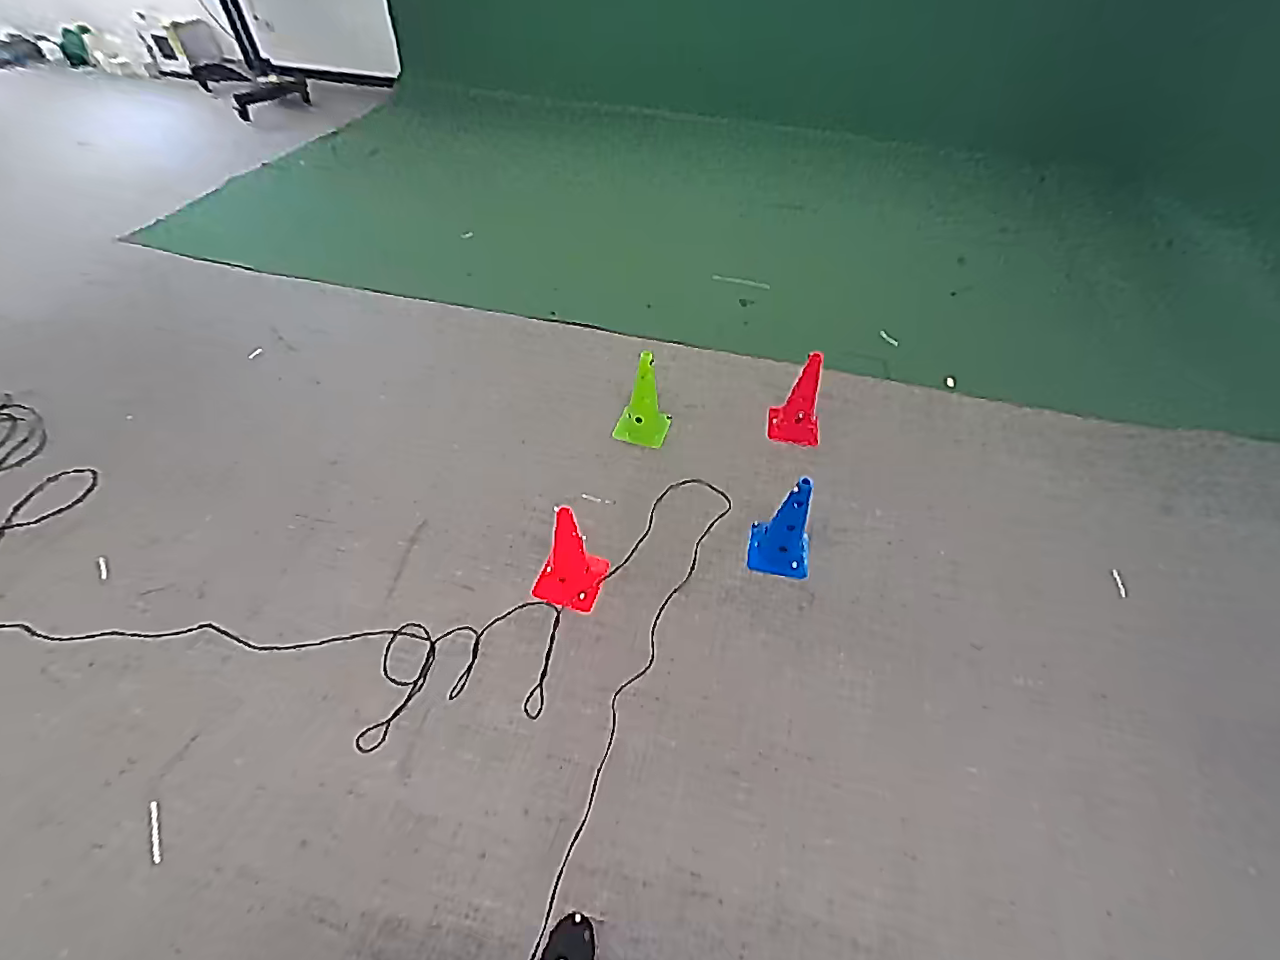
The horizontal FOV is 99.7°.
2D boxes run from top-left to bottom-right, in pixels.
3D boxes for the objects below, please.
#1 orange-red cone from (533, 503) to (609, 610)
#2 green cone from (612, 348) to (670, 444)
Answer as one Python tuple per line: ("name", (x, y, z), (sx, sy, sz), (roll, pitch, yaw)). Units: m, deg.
("orange-red cone", (-0.208, 0.189, 1.579), (0.198, 0.360, 0.199), (16, 49, 10))
("green cone", (0.009, -0.340, 2.035), (0.200, 0.368, 0.202), (13, 51, 9))
